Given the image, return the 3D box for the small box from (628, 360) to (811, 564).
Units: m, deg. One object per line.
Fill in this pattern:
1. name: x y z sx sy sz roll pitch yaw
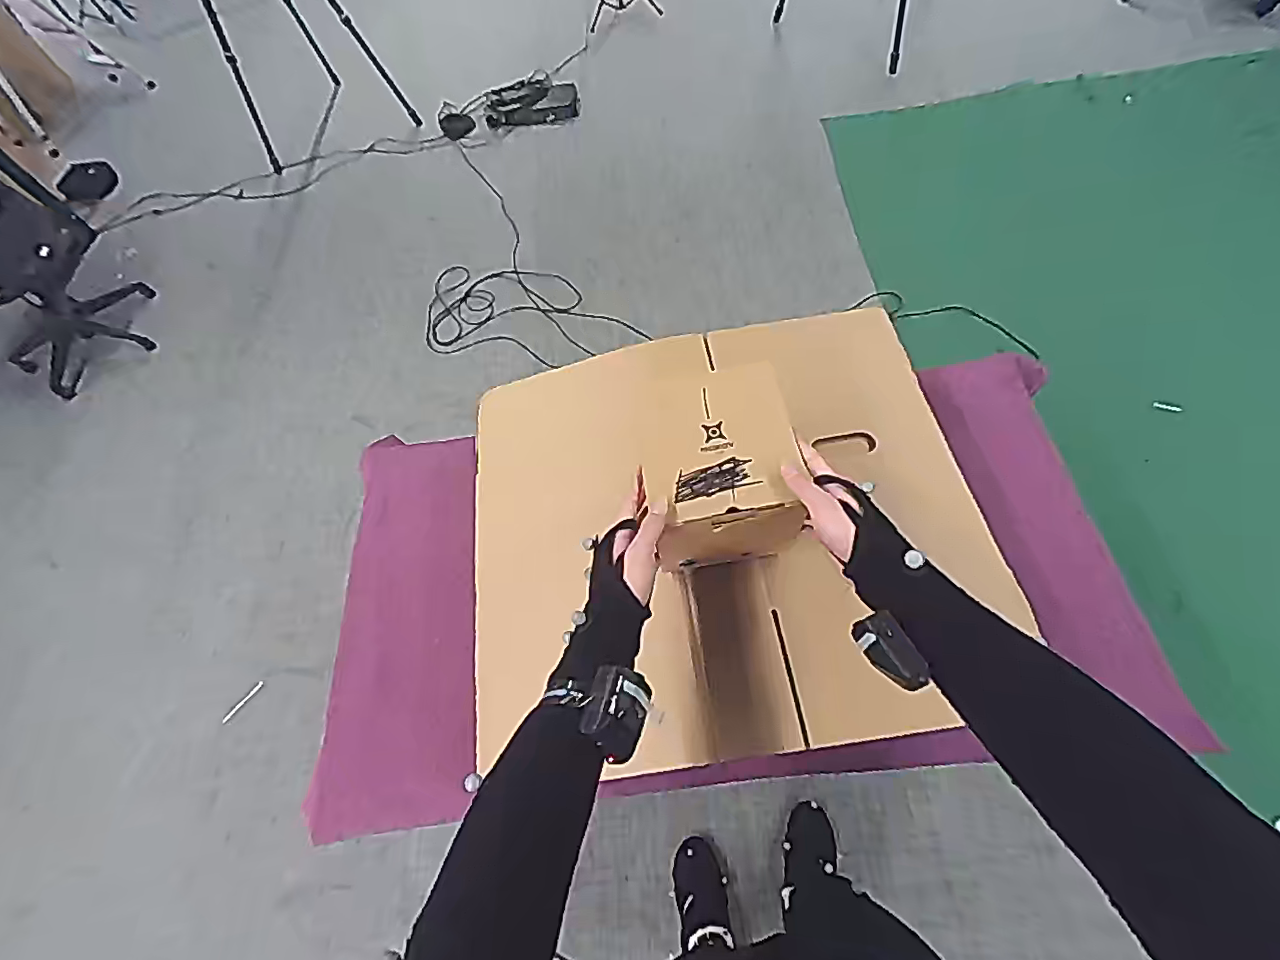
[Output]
1. small box: 0.087 -0.009 0.637 0.168 0.176 0.179 -10 63 2
